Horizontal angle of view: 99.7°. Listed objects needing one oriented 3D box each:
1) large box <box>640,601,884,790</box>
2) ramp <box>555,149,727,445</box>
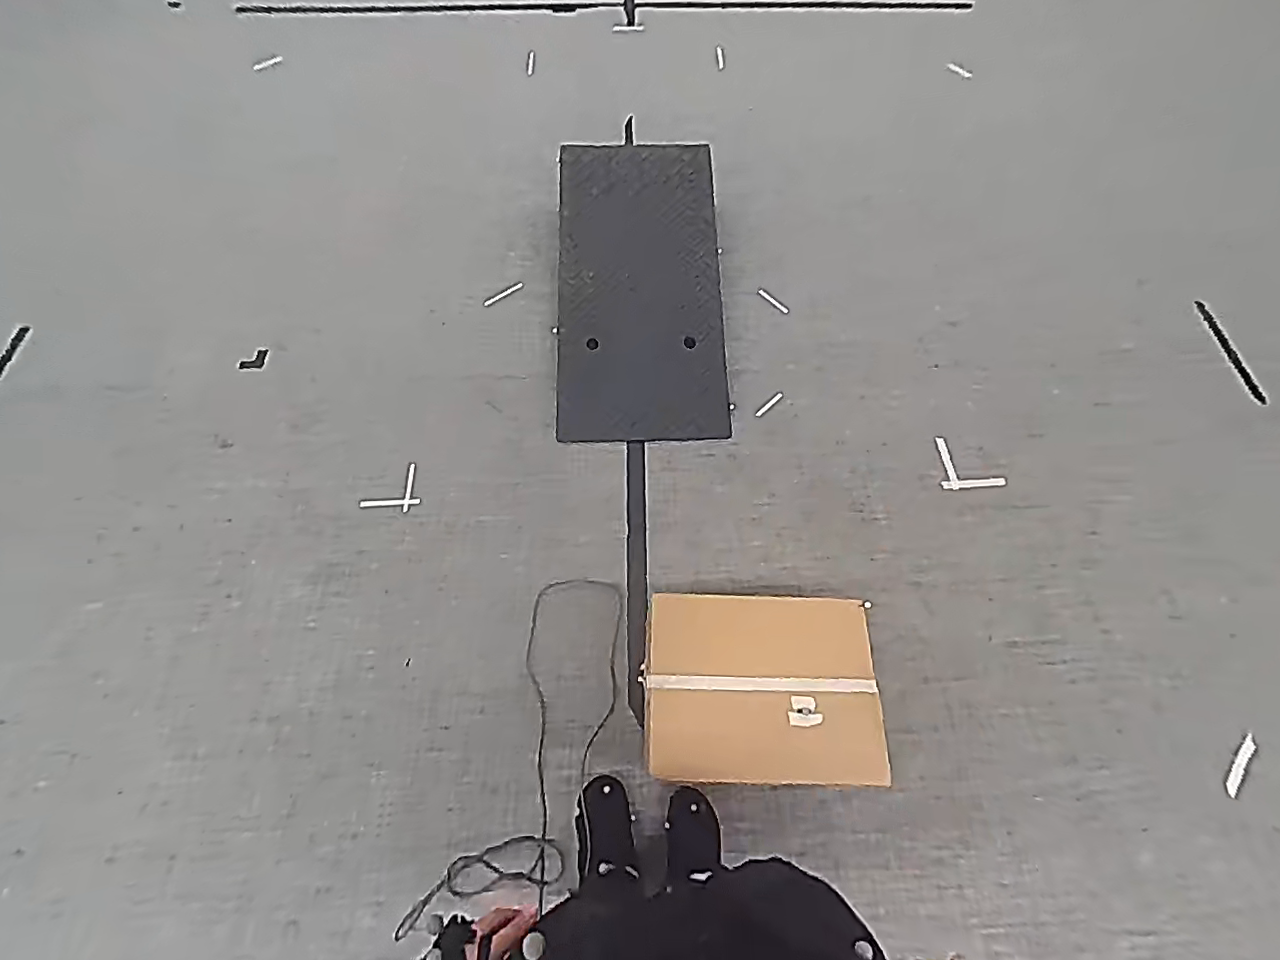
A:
[{"bbox_3d":[0.207,0.436,1.095,0.408,0.320,0.320,2,65,-2],"label":"large box"},{"bbox_3d":[-0.009,-0.586,1.636,0.509,0.206,0.991,-2,66,-4],"label":"ramp"}]
